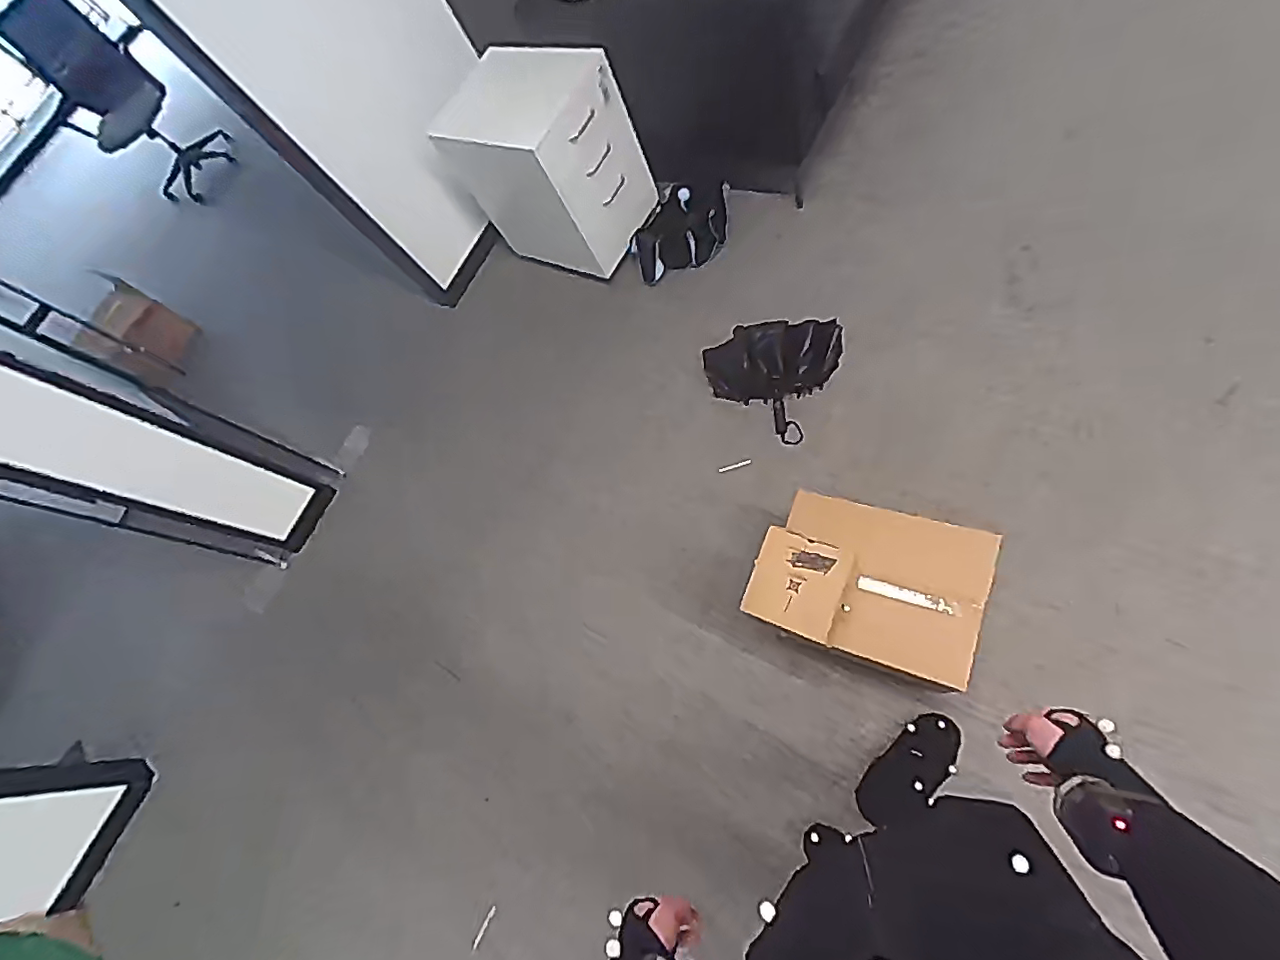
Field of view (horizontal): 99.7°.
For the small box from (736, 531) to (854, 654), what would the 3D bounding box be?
[{"bbox_3d":[0.308,0.224,1.059,0.168,0.176,0.179,18,79,27],"label":"small box"}]
